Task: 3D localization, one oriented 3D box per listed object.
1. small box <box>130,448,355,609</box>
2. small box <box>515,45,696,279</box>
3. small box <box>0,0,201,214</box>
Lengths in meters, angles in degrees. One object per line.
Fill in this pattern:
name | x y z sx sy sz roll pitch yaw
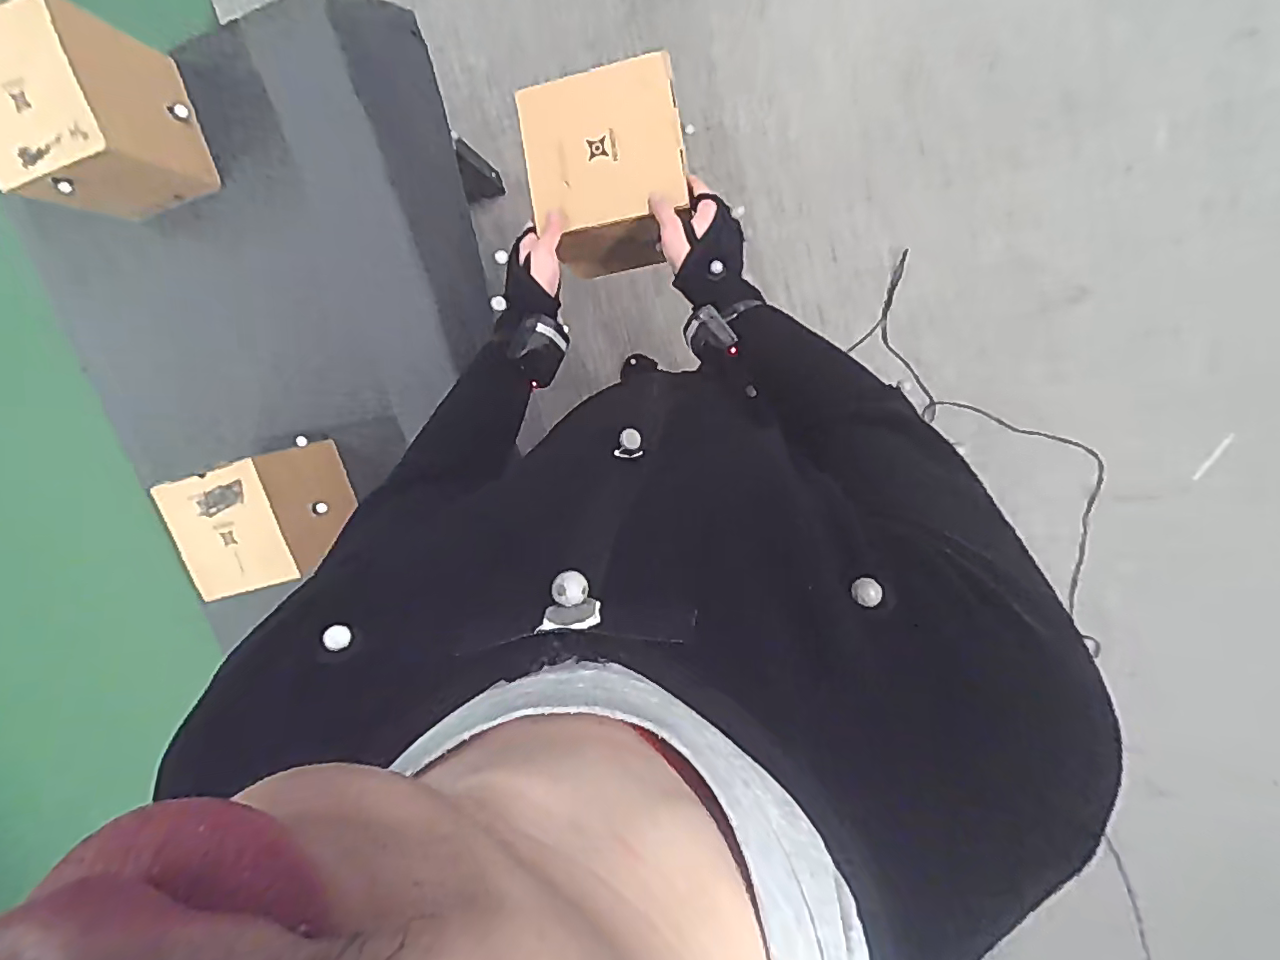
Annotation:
small box | -0.557 0.058 0.785 0.168 0.176 0.179 -14 101 8
small box | -0.028 -0.362 0.652 0.179 0.176 0.168 -9 91 10
small box | -0.721 -0.467 0.682 0.168 0.176 0.179 -14 101 7
